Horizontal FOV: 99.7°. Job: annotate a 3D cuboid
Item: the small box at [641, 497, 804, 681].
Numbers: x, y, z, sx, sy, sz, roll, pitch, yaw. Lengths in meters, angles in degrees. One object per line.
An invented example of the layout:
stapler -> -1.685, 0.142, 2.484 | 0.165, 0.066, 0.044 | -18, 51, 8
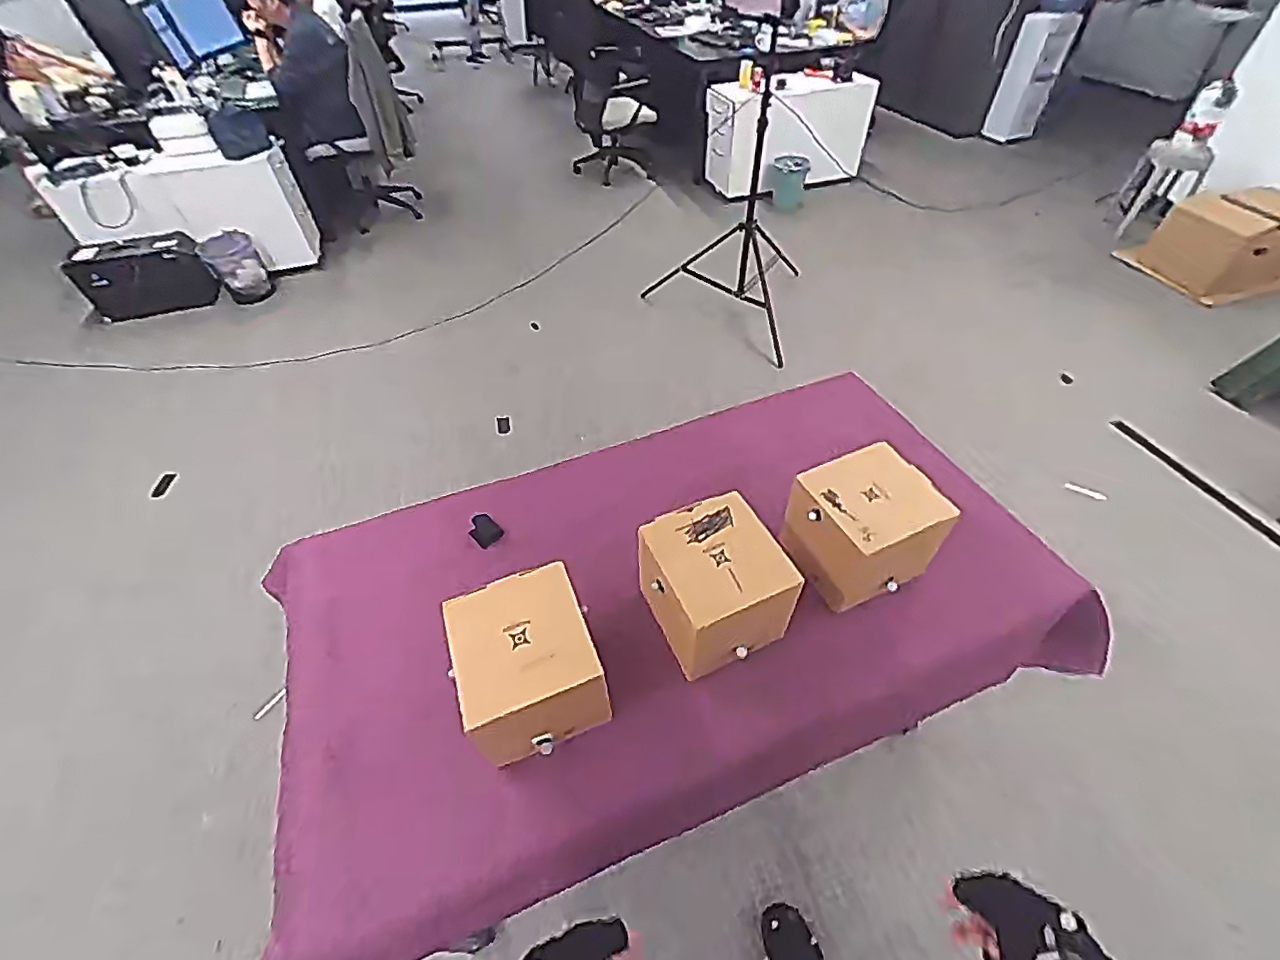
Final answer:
small box -> 0.108, 0.160, 0.795 | 0.168, 0.176, 0.179 | -19, 50, -15

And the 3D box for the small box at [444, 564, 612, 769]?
small box -> -0.145, 0.249, 0.723 | 0.168, 0.176, 0.179 | -19, 50, -13

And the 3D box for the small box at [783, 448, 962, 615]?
small box -> 0.353, 0.082, 0.858 | 0.179, 0.176, 0.168 | -19, 49, -15
